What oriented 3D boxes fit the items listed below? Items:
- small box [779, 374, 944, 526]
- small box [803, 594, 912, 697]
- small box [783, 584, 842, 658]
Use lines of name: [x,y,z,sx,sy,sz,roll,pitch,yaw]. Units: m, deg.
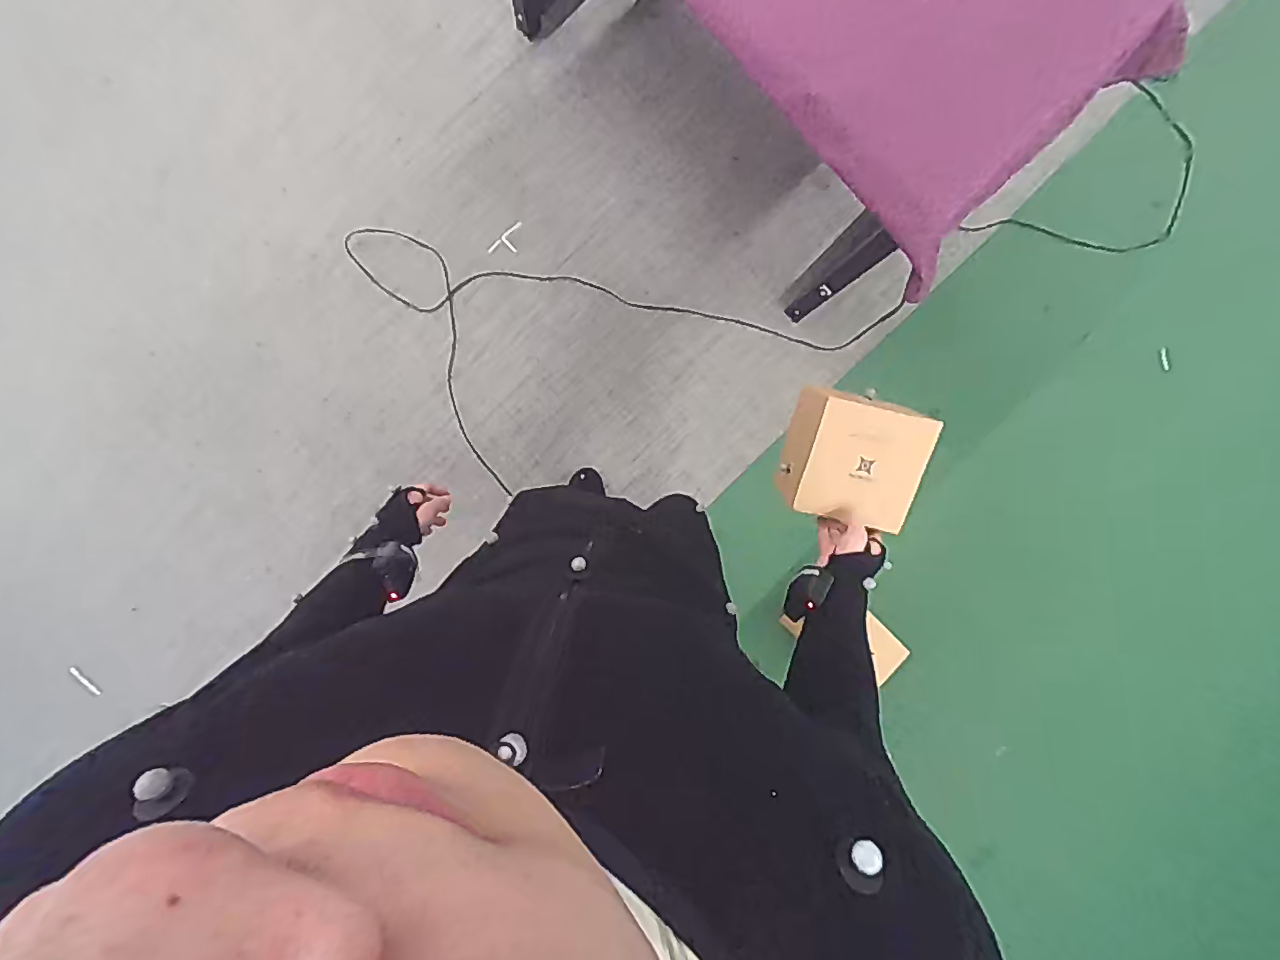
small box: [0.324,-0.055,0.837,0.168,0.176,0.179,13,108,0]
small box: [0.570,0.431,1.444,0.168,0.176,0.179,45,89,-5]
small box: [0.559,0.429,1.608,0.179,0.176,0.168,45,88,-6]
